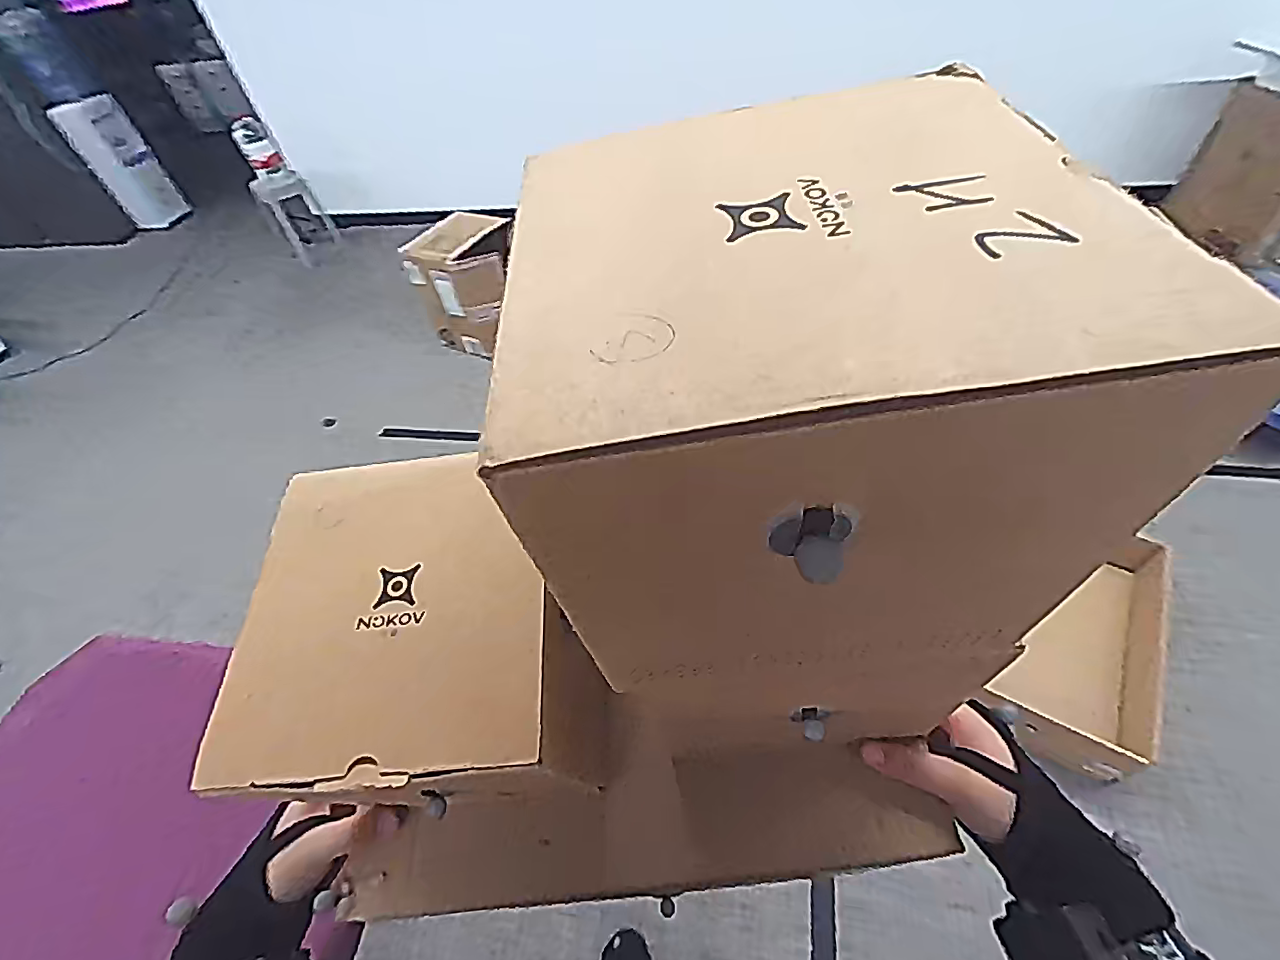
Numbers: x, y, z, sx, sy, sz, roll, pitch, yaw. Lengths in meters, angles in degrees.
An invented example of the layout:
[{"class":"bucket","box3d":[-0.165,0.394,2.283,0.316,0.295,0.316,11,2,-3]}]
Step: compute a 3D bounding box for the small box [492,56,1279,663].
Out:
[{"class":"small box","box3d":[0.061,-0.035,0.224,0.179,0.176,0.168,-7,52,5]}]
